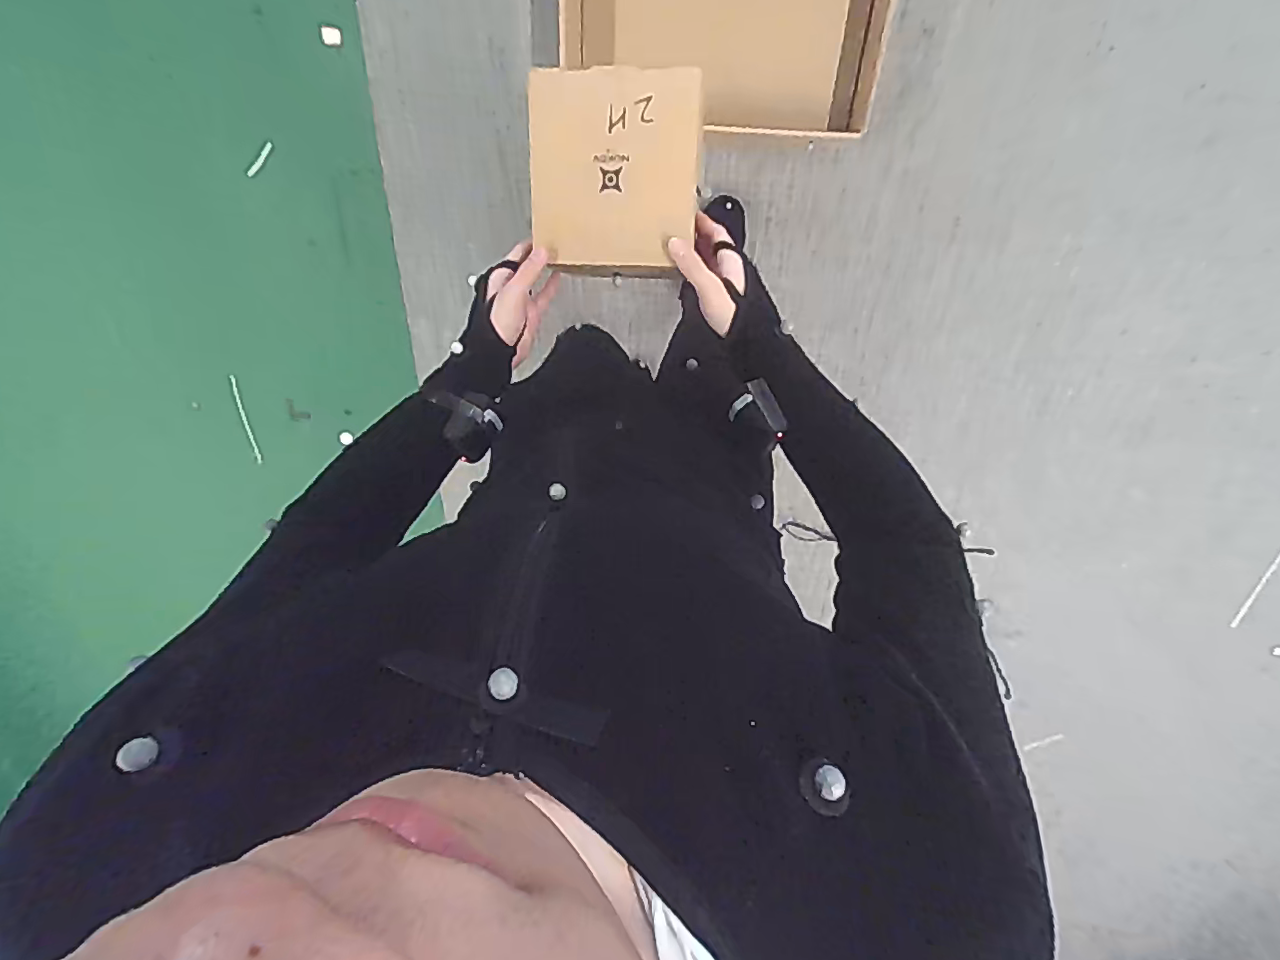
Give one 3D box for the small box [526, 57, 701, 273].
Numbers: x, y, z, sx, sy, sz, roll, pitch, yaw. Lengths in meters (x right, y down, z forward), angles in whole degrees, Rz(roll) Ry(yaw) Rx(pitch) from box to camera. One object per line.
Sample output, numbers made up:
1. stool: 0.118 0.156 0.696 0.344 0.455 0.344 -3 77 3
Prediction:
1. small box: -0.021 -0.329 0.597 0.168 0.176 0.179 4 106 5
